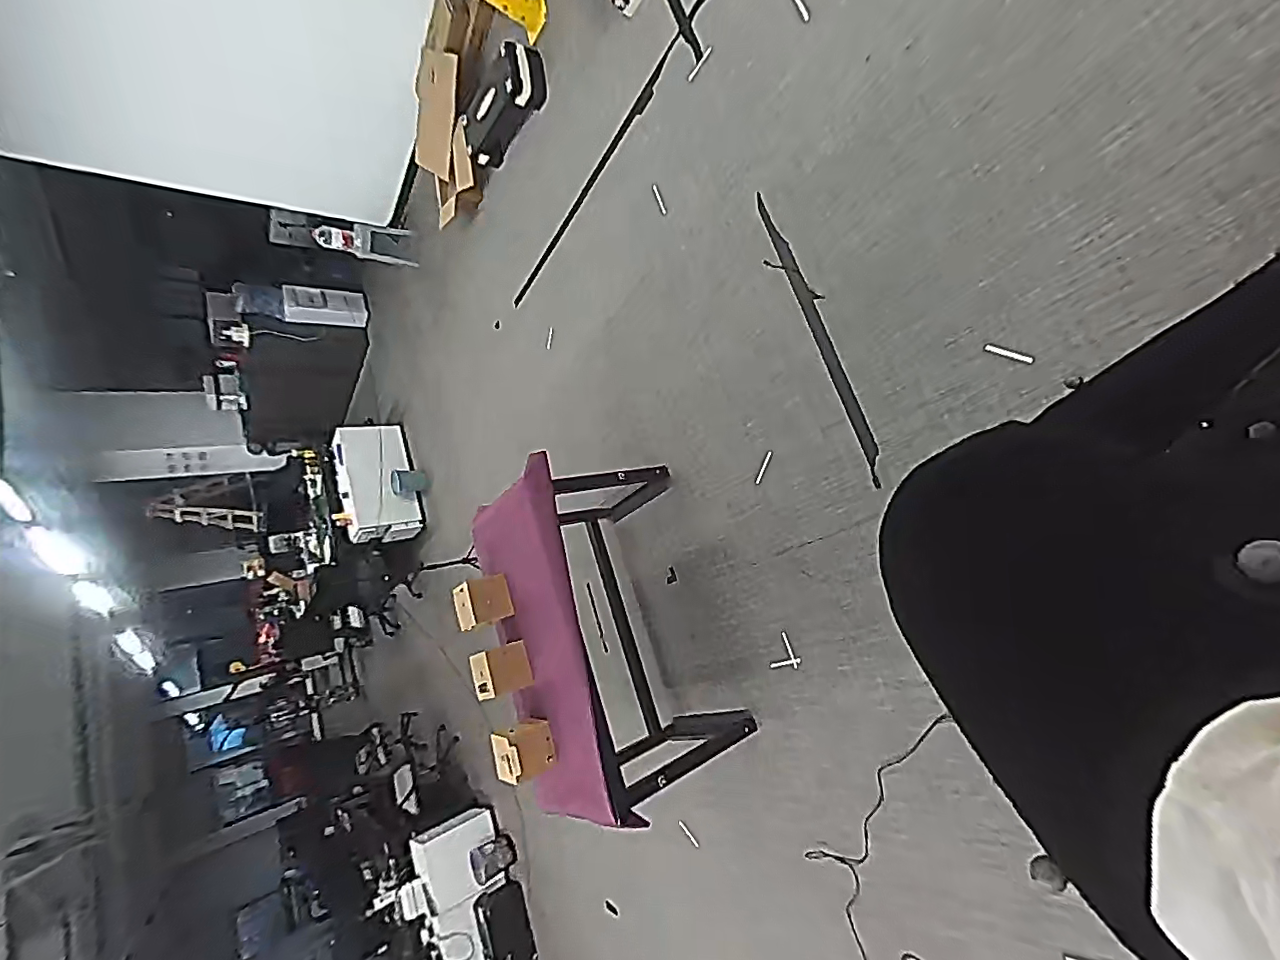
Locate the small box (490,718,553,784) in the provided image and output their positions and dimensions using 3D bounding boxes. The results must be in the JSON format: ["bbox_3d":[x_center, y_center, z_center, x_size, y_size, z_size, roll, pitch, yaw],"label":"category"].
[{"bbox_3d":[-0.439,1.015,2.038,0.179,0.176,0.168,-25,76,49],"label":"small box"}]
